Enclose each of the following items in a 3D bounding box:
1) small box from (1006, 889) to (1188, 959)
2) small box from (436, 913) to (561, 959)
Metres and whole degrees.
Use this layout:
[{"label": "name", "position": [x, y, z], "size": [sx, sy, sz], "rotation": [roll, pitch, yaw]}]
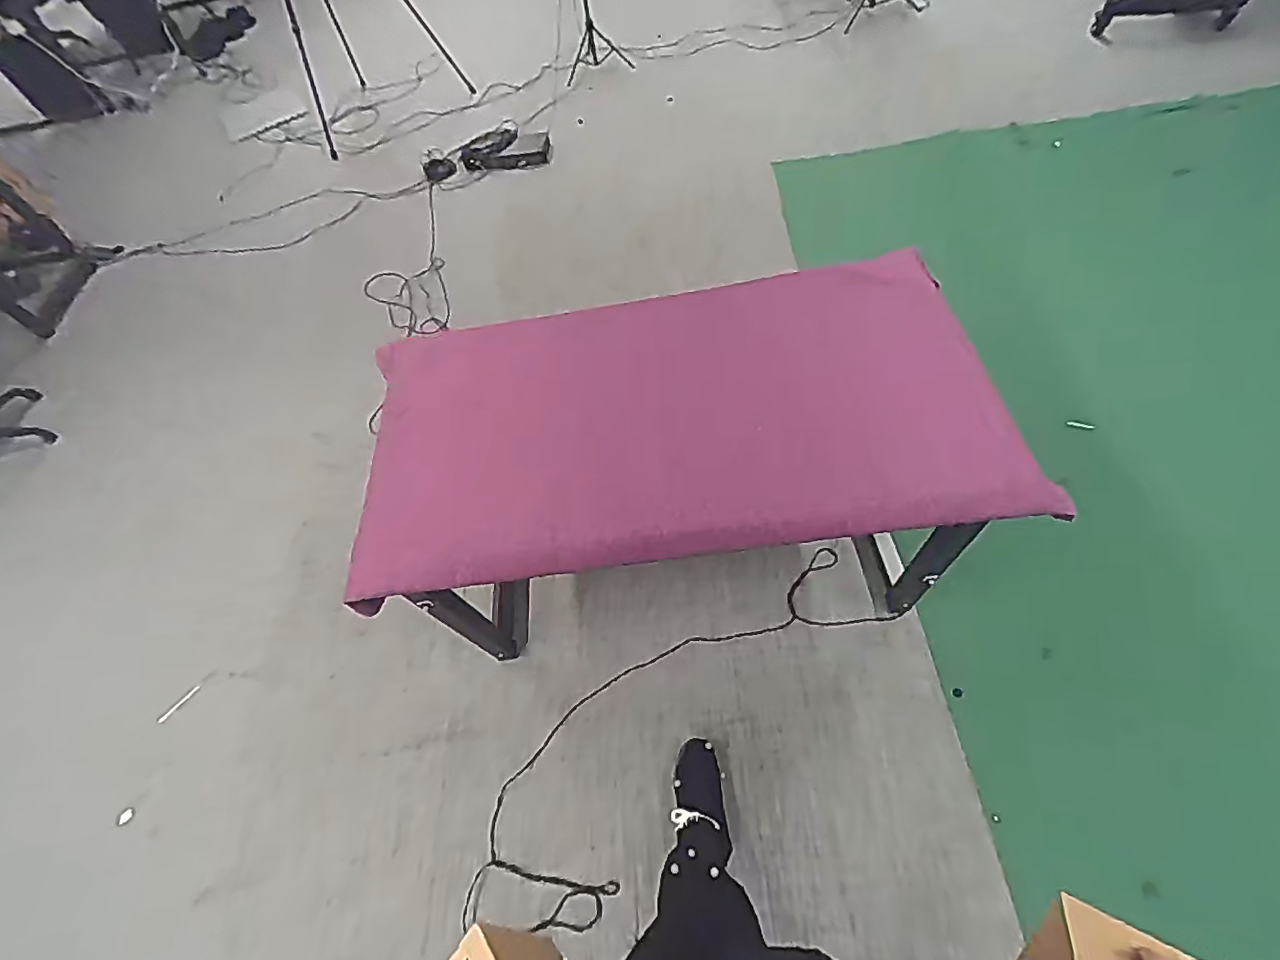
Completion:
[{"label": "small box", "position": [0.508, 0.612, 0.576], "size": [0.168, 0.176, 0.179], "rotation": [19, 25, 25]}, {"label": "small box", "position": [-0.168, 0.666, 0.632], "size": [0.179, 0.176, 0.168], "rotation": [22, 65, 46]}]
